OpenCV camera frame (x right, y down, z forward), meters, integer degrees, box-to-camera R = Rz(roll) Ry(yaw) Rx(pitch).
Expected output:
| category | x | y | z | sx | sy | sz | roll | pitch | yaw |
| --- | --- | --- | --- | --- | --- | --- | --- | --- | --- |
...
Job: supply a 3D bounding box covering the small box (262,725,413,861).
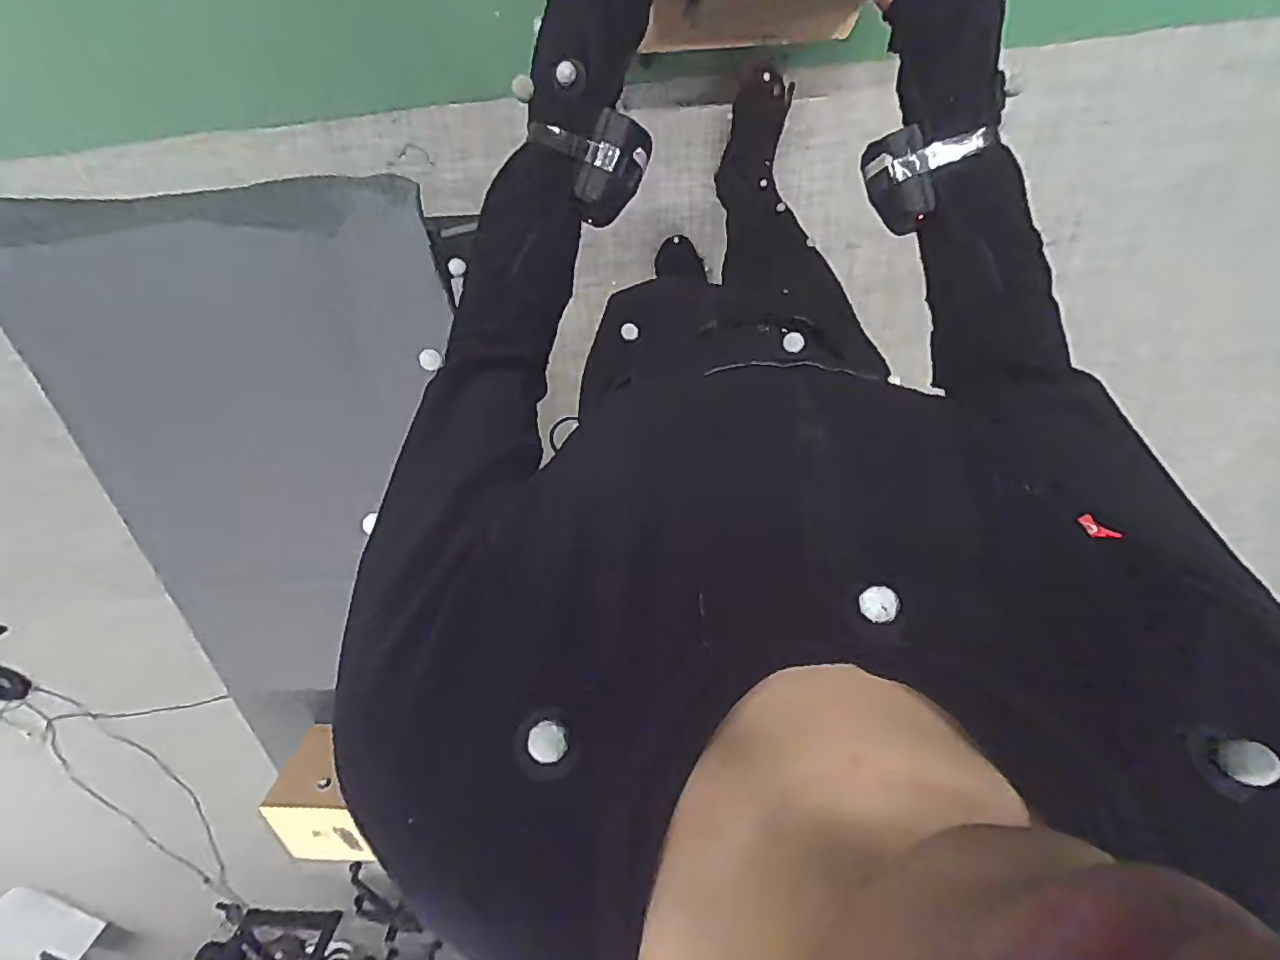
| category | x | y | z | sx | sy | sz | roll | pitch | yaw |
| --- | --- | --- | --- | --- | --- | --- | --- | --- | --- |
| small box | -0.558 | 0.592 | 1.034 | 0.179 | 0.176 | 0.168 | -2 | 118 | 6 |
